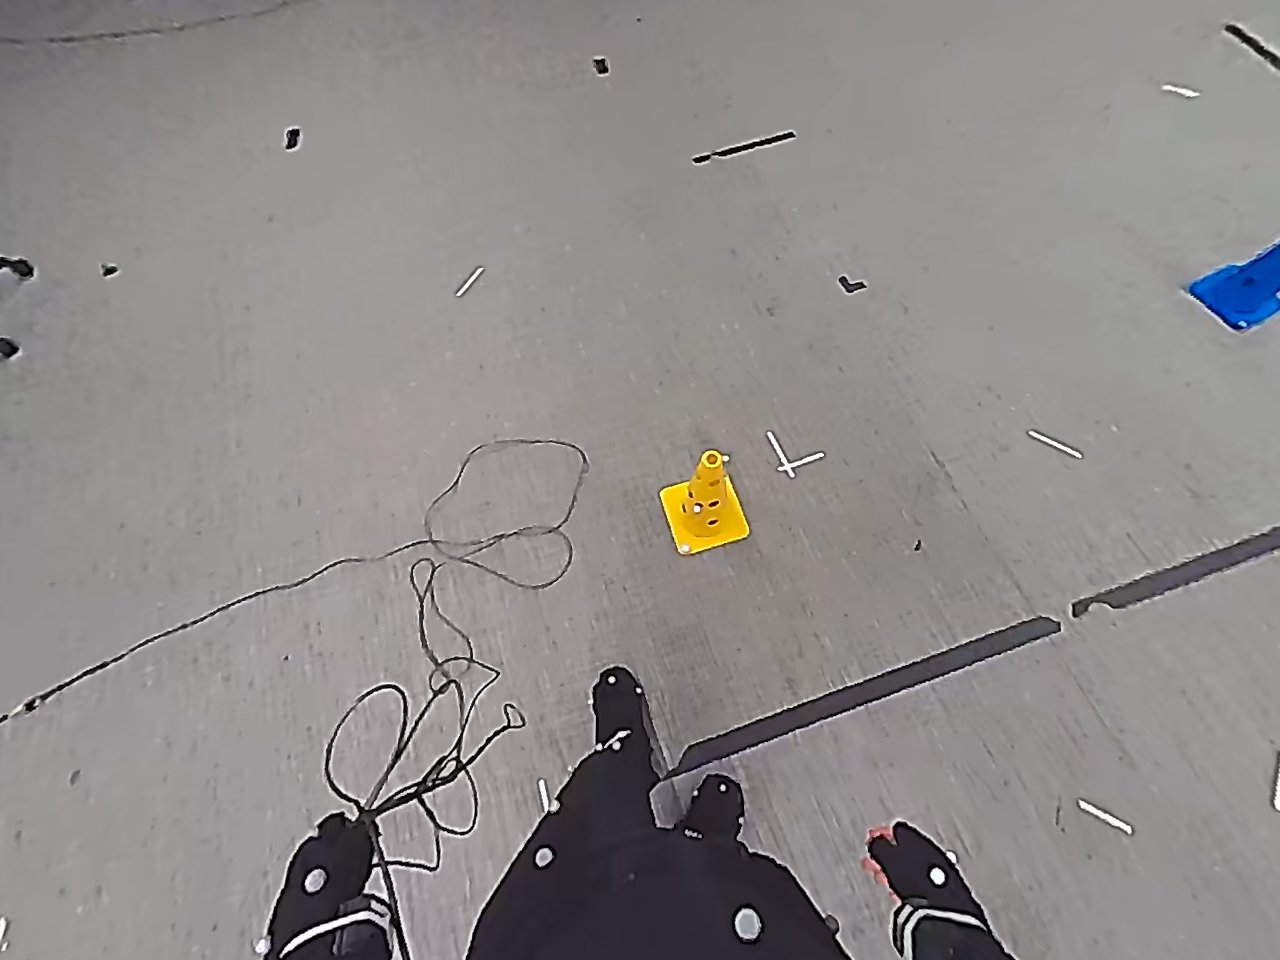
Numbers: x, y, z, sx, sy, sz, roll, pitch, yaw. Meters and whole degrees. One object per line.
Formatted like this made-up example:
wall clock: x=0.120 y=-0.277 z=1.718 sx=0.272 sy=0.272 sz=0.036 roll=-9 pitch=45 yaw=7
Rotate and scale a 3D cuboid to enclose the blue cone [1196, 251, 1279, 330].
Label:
blue cone: x=1.800 y=-0.614 z=1.481 sx=0.193 sy=0.380 sz=0.192 roll=-24 pitch=68 yaw=-6
